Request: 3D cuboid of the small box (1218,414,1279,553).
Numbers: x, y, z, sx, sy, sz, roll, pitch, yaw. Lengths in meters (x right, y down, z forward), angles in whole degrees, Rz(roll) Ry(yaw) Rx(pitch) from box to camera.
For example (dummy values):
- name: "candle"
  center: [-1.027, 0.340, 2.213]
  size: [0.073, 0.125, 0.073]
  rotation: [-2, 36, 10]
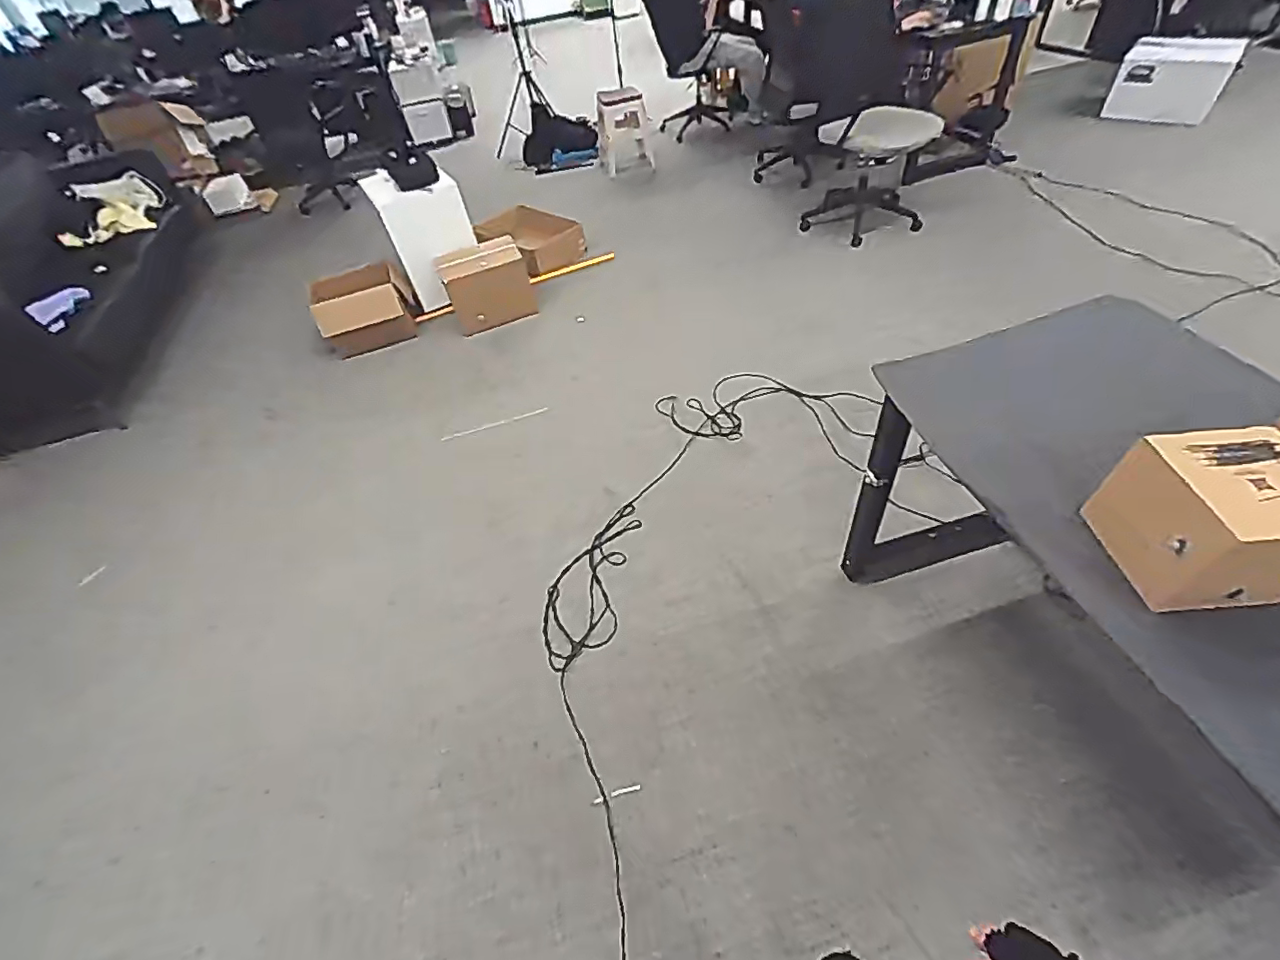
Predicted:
- name: "small box"
  center: [0.960, 0.004, 0.730]
  size: [0.179, 0.176, 0.168]
  rotation: [-12, 48, -3]
